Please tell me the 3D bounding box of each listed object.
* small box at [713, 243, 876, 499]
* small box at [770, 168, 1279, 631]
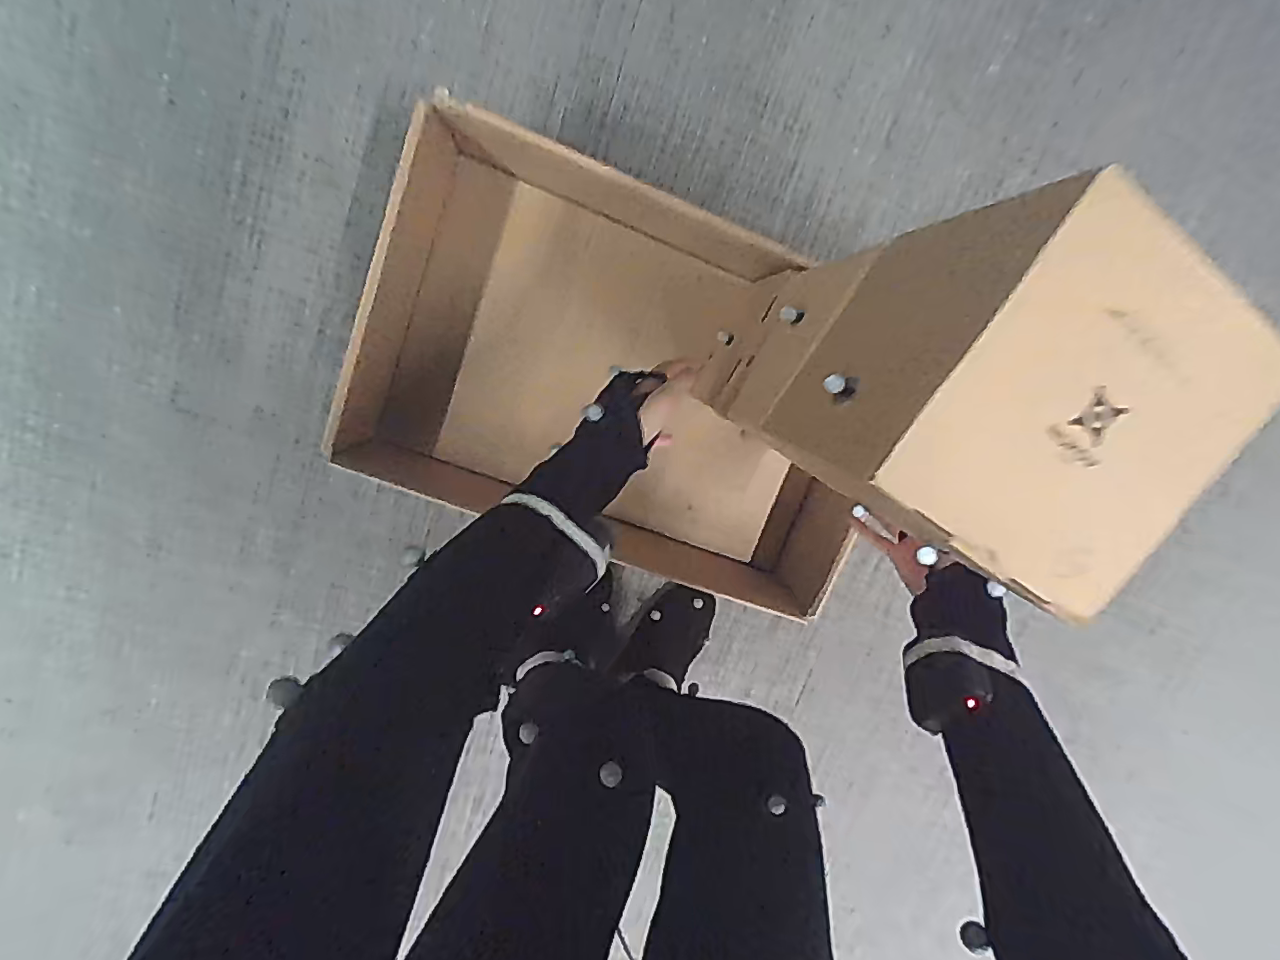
[{"bbox_3d":[0.189,-0.084,0.504,0.179,0.176,0.168,31,100,-10],"label":"small box"},{"bbox_3d":[0.206,-0.047,0.346,0.168,0.176,0.179,33,99,-13],"label":"small box"}]
